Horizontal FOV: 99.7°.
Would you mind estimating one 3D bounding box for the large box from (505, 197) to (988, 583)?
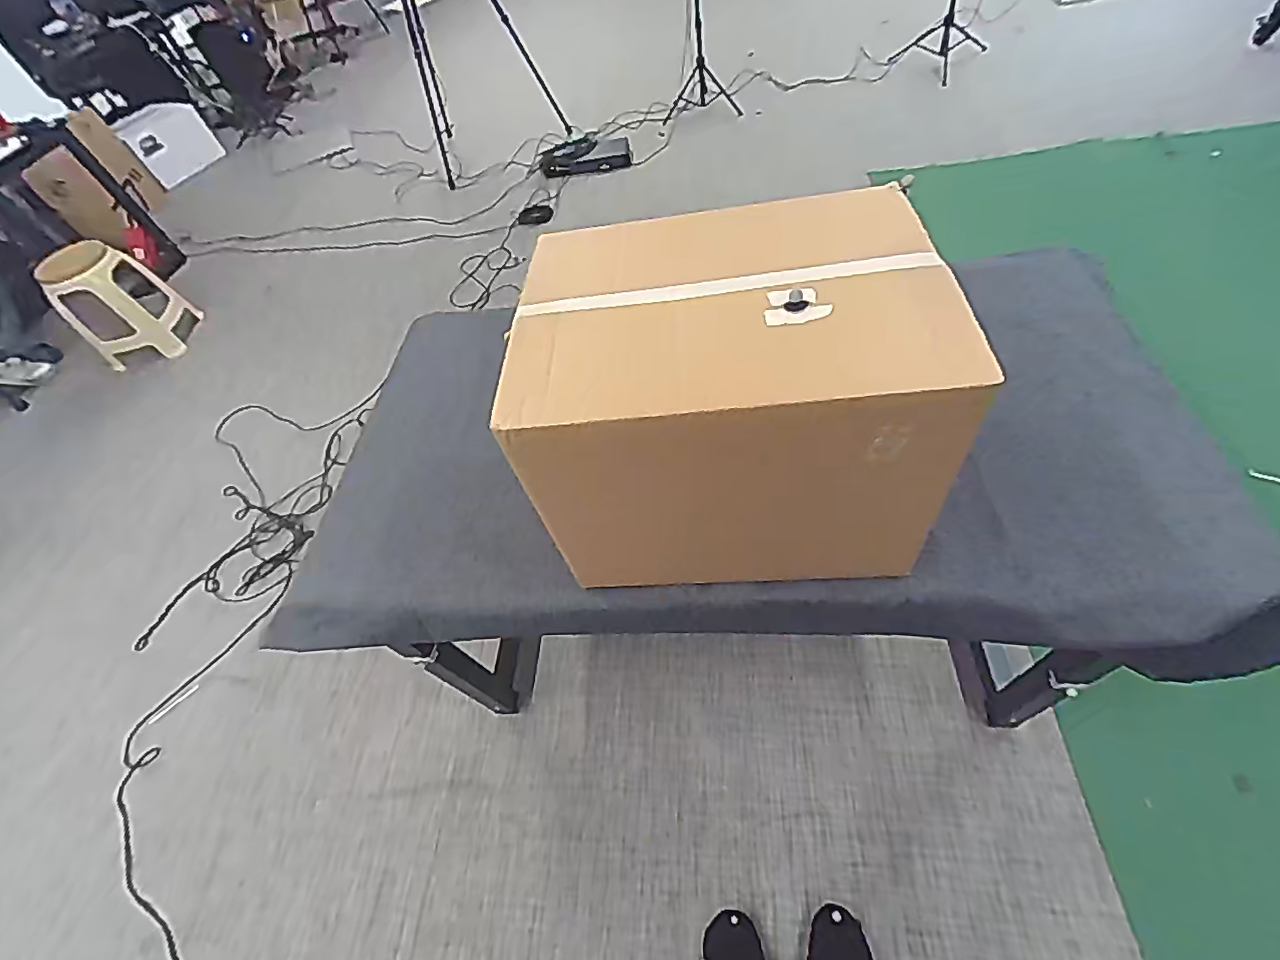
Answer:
[{"bbox_3d":[0.100,-0.089,0.649,0.408,0.320,0.320,-4,53,8],"label":"large box"}]
